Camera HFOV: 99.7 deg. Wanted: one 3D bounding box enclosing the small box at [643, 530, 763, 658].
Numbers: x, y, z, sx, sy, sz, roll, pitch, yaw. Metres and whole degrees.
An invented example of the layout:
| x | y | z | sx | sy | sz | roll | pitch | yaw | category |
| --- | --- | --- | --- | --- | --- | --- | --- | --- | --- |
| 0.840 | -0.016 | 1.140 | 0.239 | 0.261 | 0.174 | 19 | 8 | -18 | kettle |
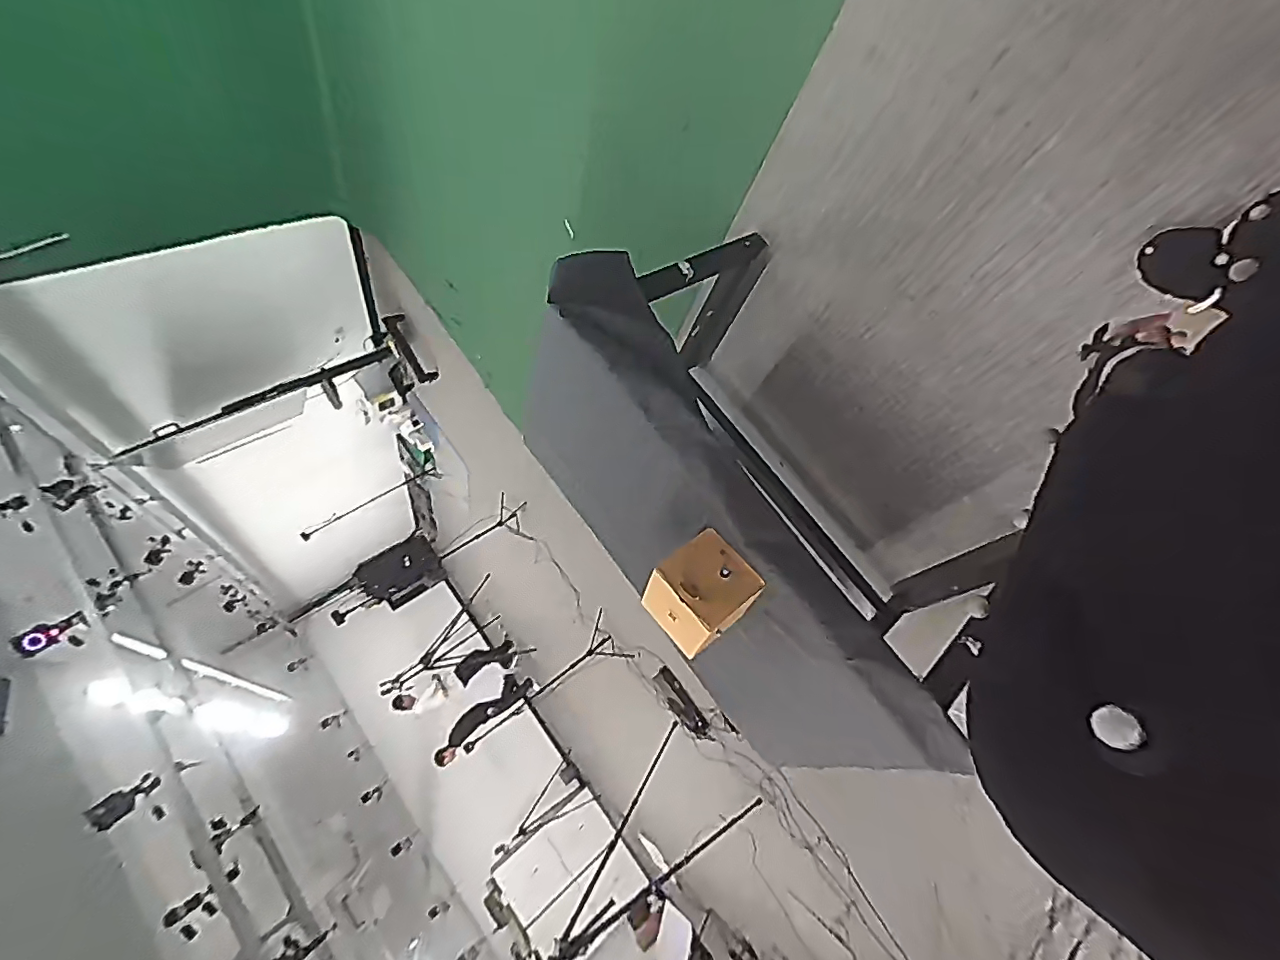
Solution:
| x | y | z | sx | sy | sz | roll | pitch | yaw | category |
| --- | --- | --- | --- | --- | --- | --- | --- | --- | --- |
| 0.132 | 0.239 | 1.142 | 0.168 | 0.176 | 0.179 | 46 | 149 | 21 | small box |
